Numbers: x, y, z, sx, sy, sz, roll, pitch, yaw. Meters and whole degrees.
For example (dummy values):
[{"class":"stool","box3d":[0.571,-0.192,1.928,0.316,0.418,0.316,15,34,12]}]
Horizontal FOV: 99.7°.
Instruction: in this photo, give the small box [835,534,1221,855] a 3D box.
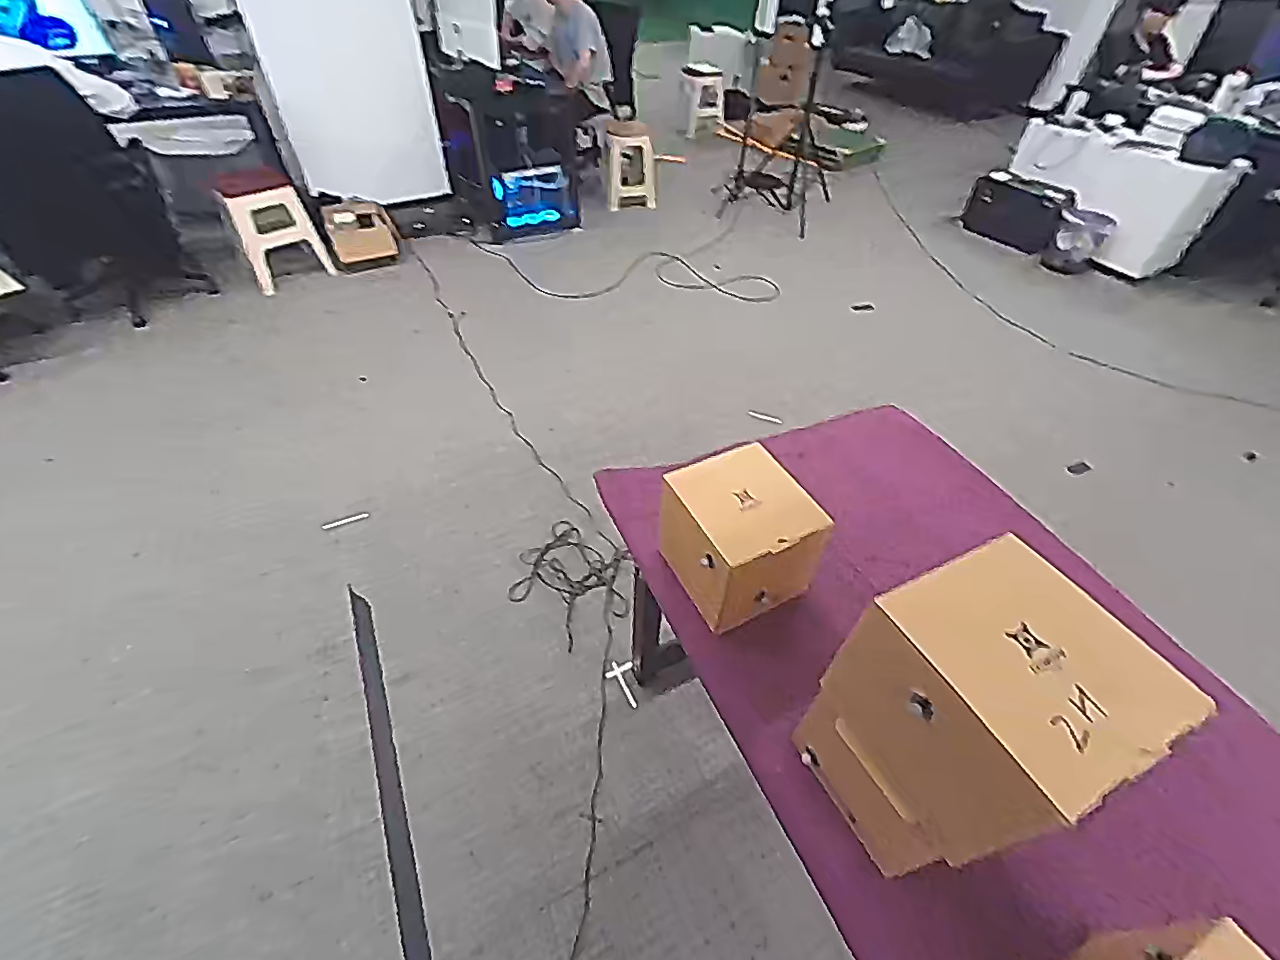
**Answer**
[{"class":"small box","box3d":[0.302,0.183,0.469,0.168,0.176,0.179,-19,51,-18]}]

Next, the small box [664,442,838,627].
[{"class":"small box","box3d":[0.146,0.079,0.787,0.168,0.176,0.179,-20,51,-20]}]

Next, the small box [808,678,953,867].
[{"class":"small box","box3d":[0.308,0.288,0.596,0.179,0.176,0.168,-20,51,-20]}]
